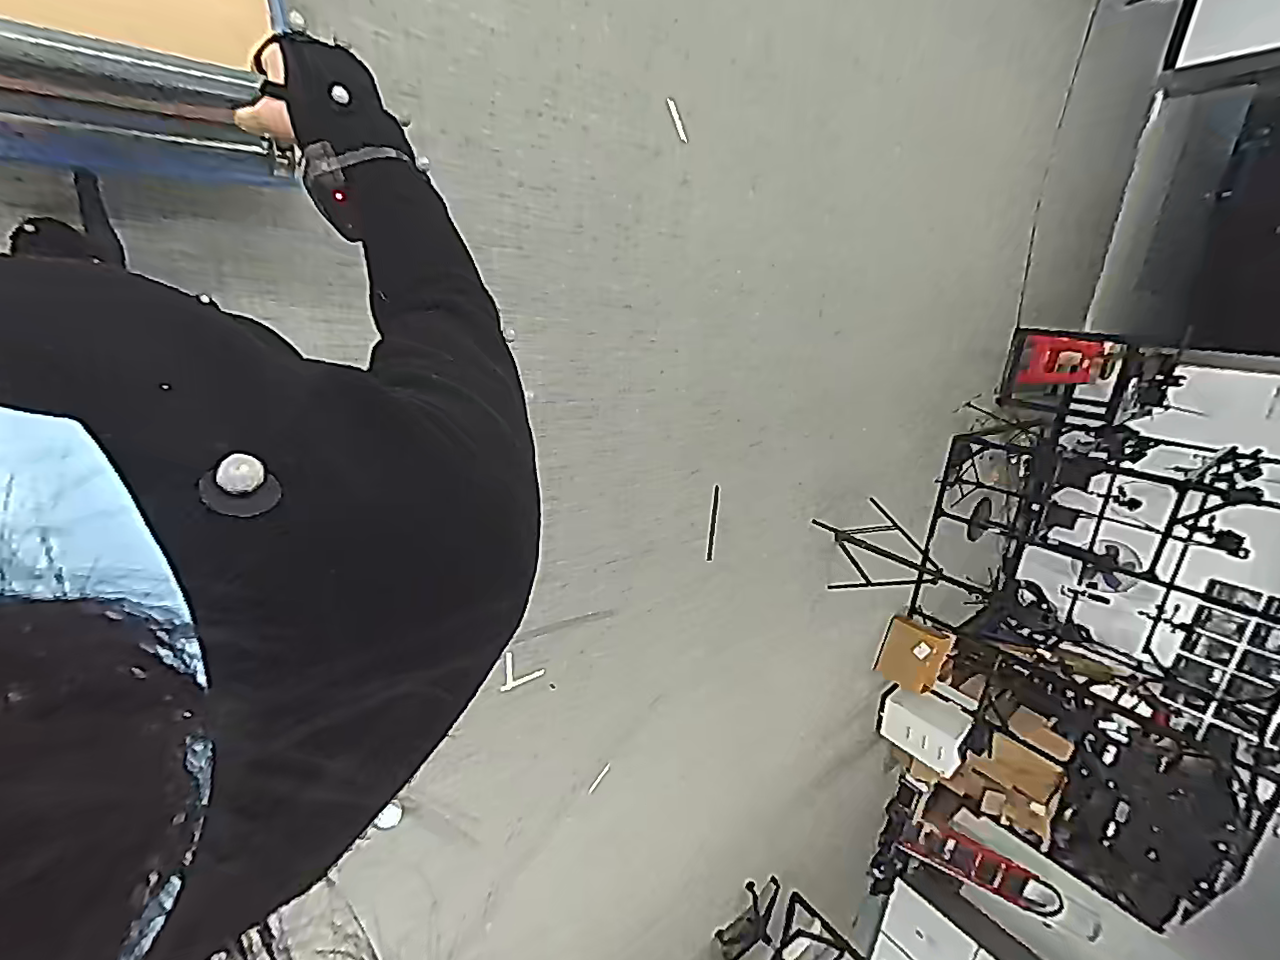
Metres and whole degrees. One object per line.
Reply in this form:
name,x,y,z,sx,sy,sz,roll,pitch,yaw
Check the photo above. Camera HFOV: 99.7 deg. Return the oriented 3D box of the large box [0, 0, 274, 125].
large box,-0.755,-0.687,0.683,0.408,0.320,0.320,-16,117,-38
